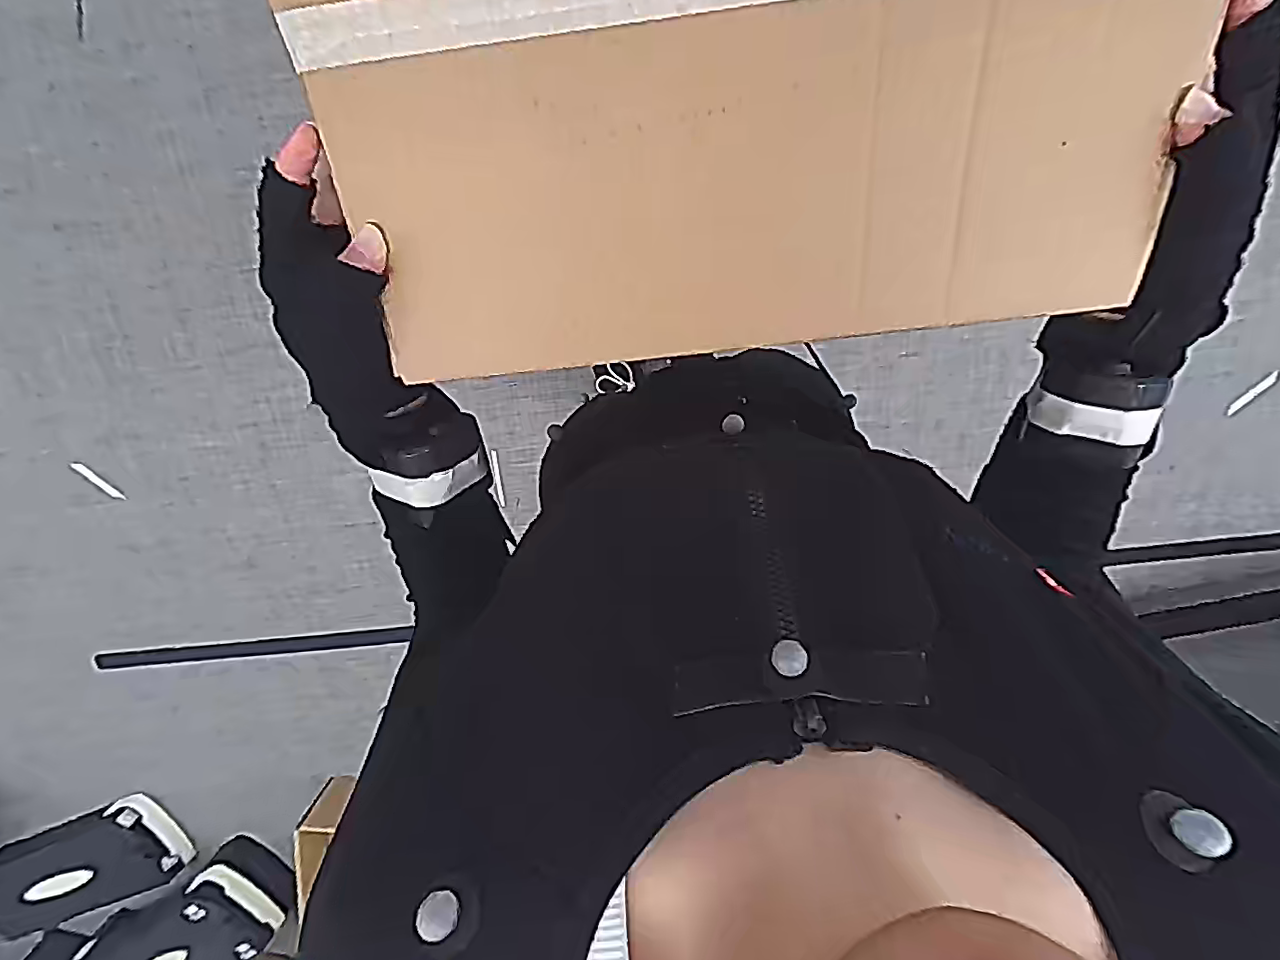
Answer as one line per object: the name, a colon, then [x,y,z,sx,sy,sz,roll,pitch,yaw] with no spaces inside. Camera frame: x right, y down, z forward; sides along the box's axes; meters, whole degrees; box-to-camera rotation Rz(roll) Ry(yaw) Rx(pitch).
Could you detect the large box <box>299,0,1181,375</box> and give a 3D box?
large box: [0.042,-0.286,0.377,0.408,0.320,0.320,-6,118,3]
